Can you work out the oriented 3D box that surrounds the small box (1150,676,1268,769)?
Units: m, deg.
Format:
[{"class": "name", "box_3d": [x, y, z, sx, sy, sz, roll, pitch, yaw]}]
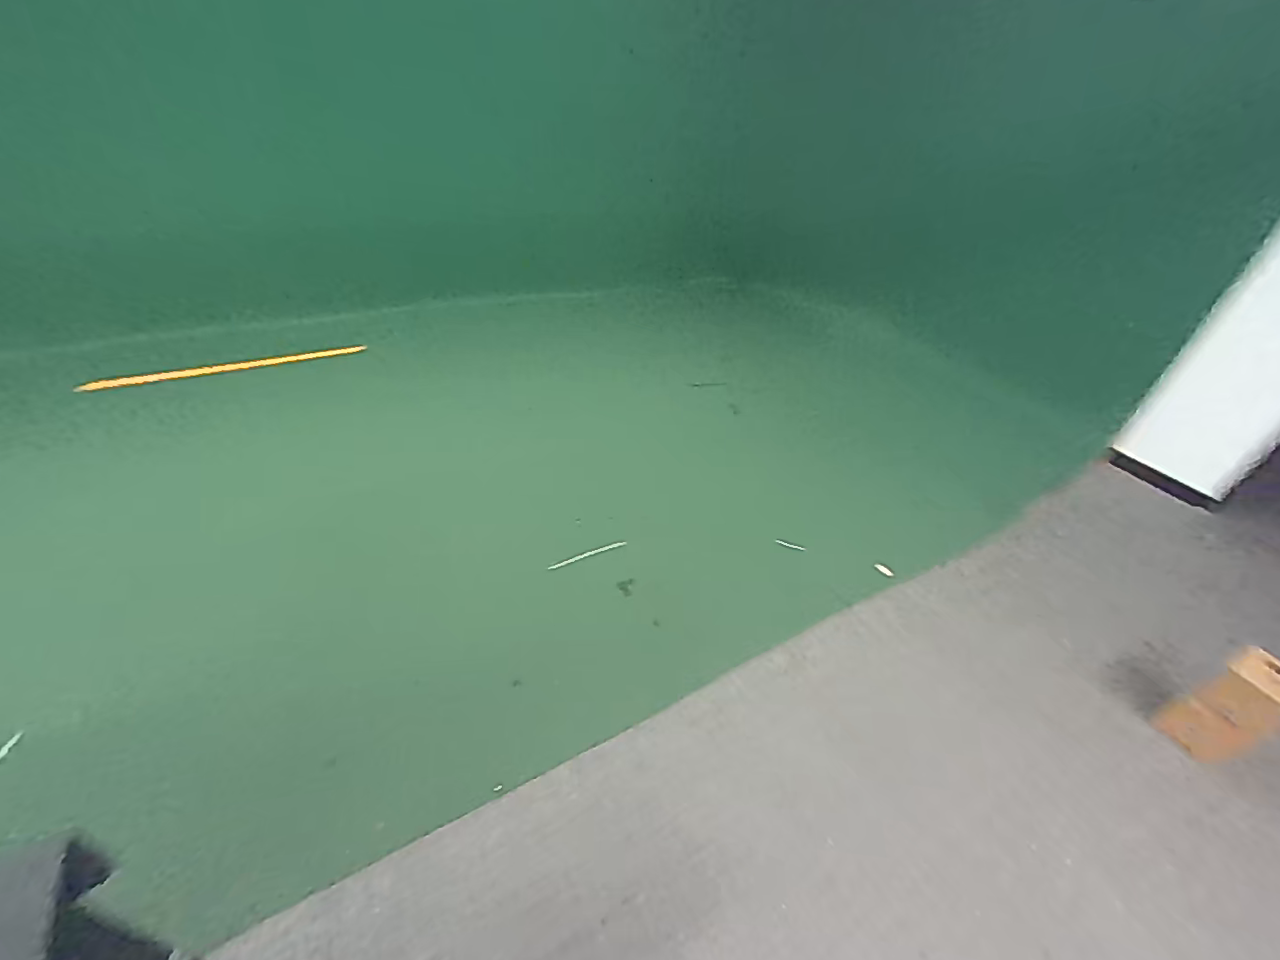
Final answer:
[{"class": "small box", "box_3d": [1.732, 0.746, 1.657, 0.179, 0.176, 0.168, -17, 44, -26]}]
